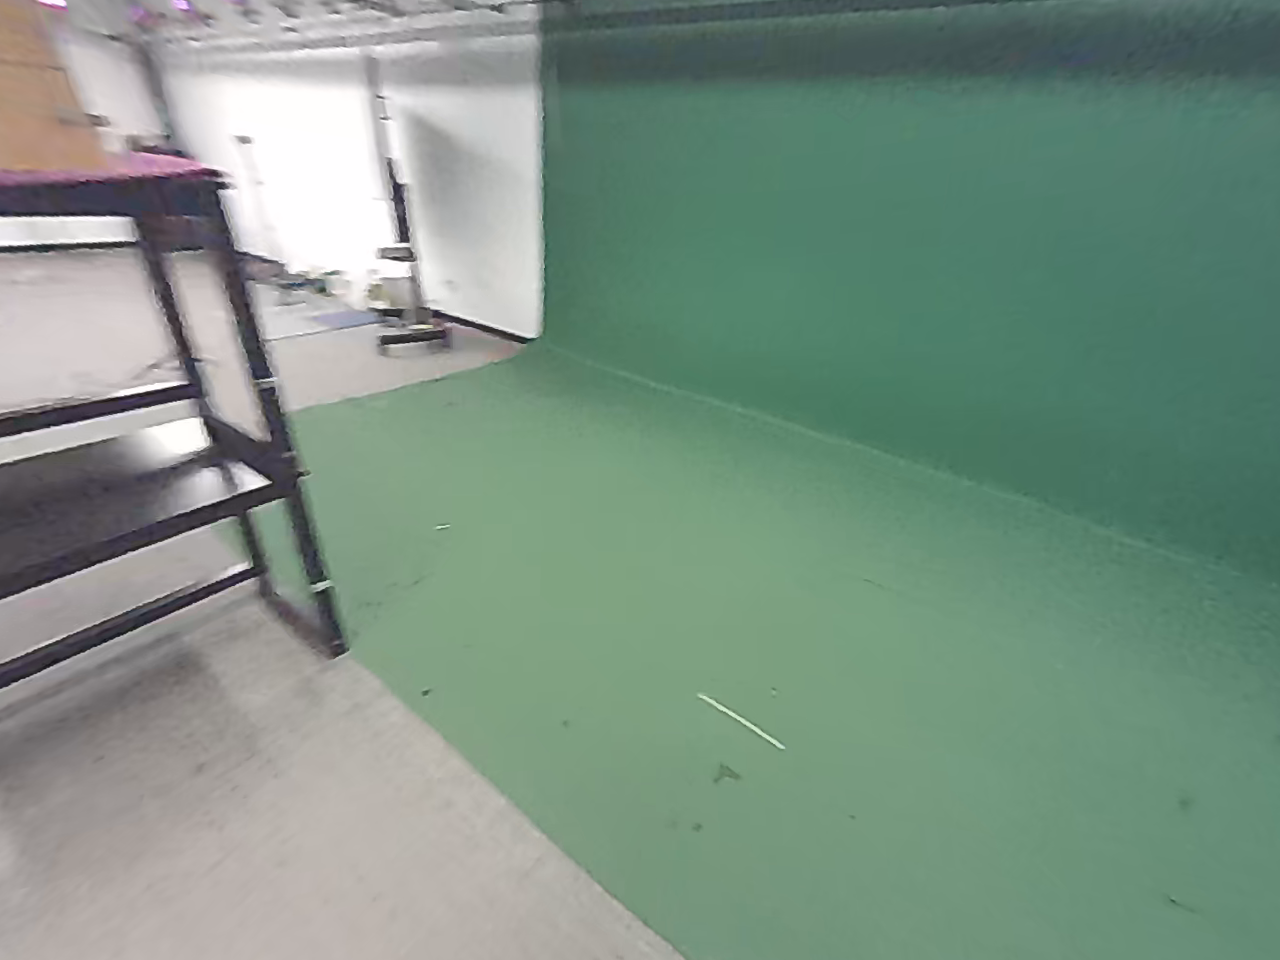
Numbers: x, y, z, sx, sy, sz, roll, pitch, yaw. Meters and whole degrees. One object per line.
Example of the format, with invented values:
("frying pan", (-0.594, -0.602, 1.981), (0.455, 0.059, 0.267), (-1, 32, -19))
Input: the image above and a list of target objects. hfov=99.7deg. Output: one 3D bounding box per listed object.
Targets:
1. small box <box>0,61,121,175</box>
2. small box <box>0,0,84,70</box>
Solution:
("small box", (-1.139, -0.683, 1.030), (0.168, 0.176, 0.179), (24, 37, 35))
("small box", (-1.141, -0.826, 0.953), (0.168, 0.176, 0.179), (26, 37, 37))
